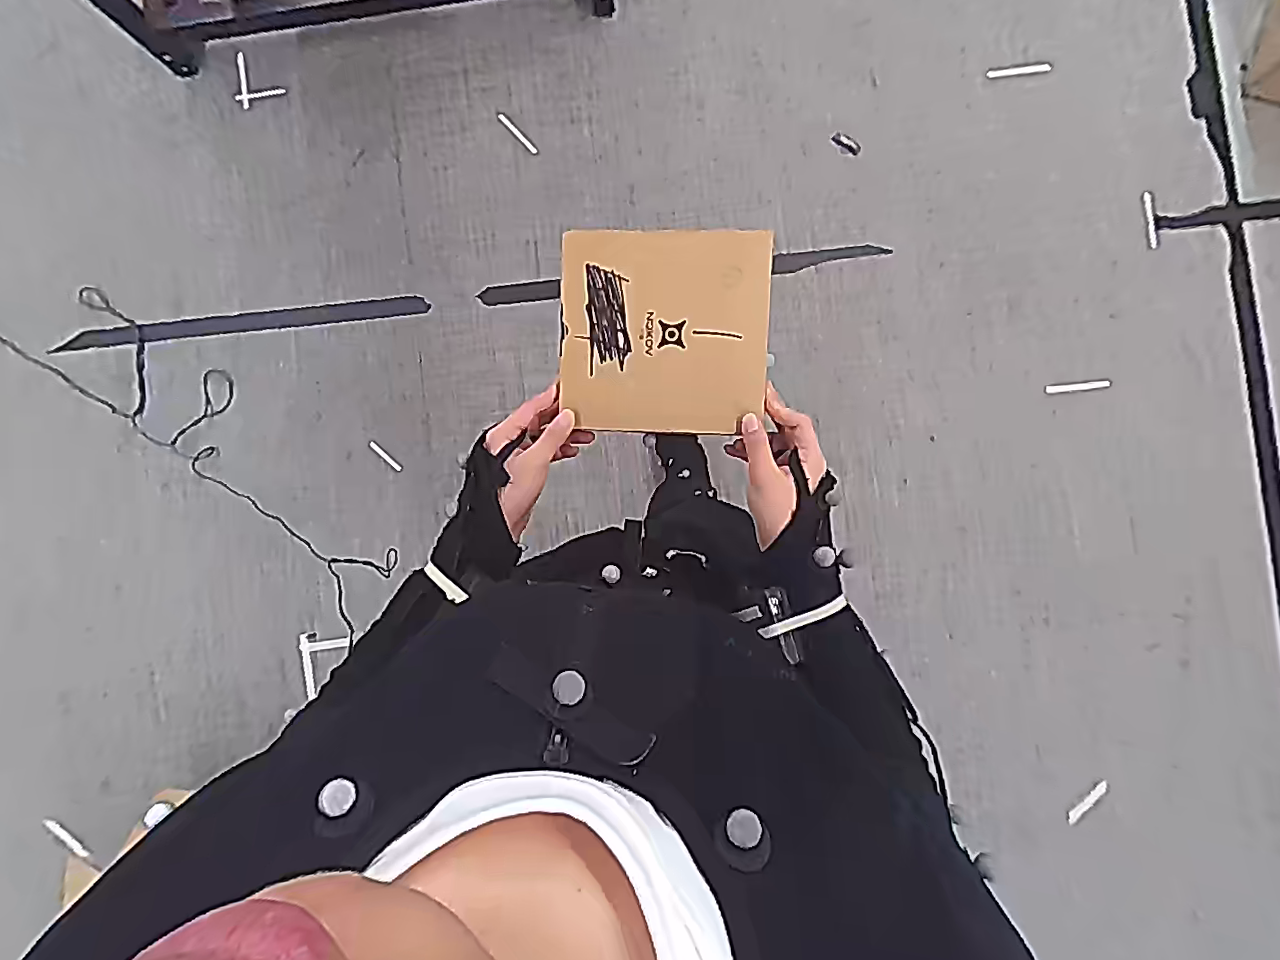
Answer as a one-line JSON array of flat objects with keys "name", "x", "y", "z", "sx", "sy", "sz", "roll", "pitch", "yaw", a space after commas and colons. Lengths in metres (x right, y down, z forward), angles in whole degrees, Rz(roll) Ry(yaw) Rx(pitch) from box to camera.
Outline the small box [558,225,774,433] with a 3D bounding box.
[{"name": "small box", "x": 0.028, "y": -0.131, "z": 0.524, "sx": 0.179, "sy": 0.176, "sz": 0.168, "roll": 2, "pitch": 95, "yaw": 6}]
